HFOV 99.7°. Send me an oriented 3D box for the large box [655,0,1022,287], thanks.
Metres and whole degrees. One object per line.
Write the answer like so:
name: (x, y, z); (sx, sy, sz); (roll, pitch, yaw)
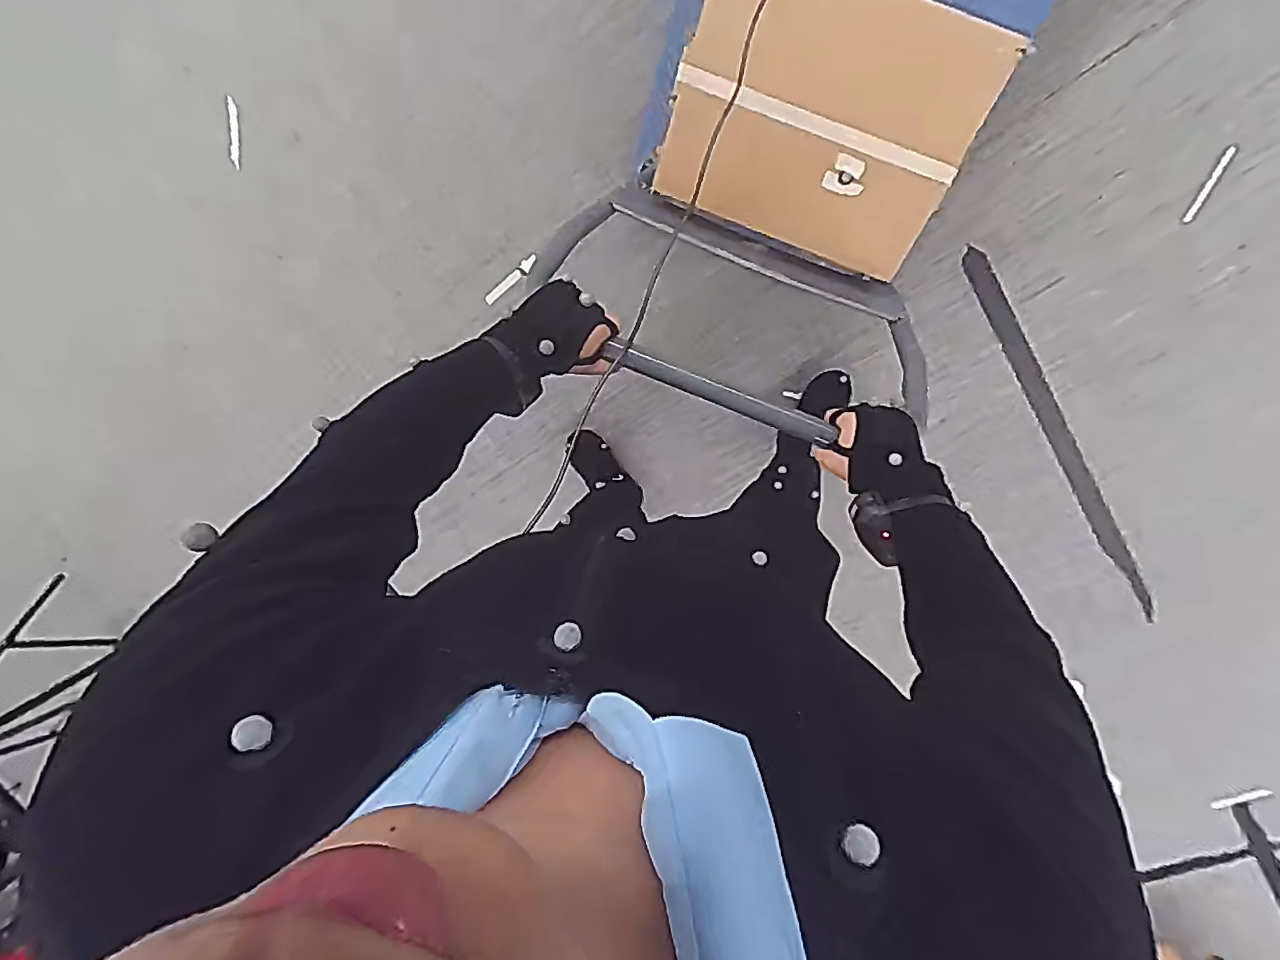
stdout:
large box: (0.278, -0.566, 0.880); (0.408, 0.320, 0.320); (22, 127, -1)
